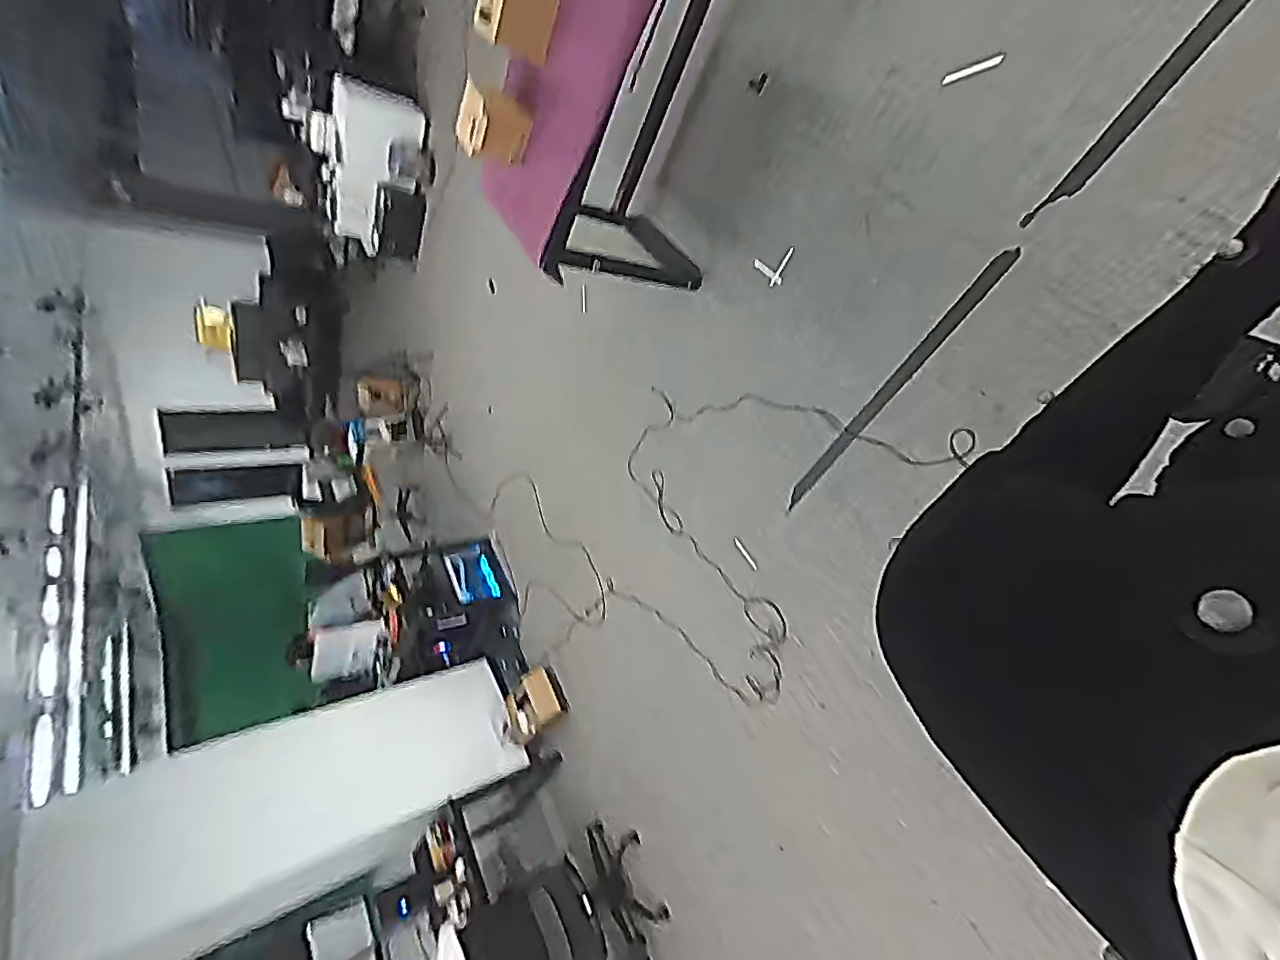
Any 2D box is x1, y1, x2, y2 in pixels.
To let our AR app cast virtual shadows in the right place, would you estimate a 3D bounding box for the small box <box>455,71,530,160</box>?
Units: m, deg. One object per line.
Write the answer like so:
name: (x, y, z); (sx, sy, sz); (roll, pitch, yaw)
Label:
small box: (-0.477, -1.175, 1.756); (0.168, 0.176, 0.179); (-52, 57, 40)
